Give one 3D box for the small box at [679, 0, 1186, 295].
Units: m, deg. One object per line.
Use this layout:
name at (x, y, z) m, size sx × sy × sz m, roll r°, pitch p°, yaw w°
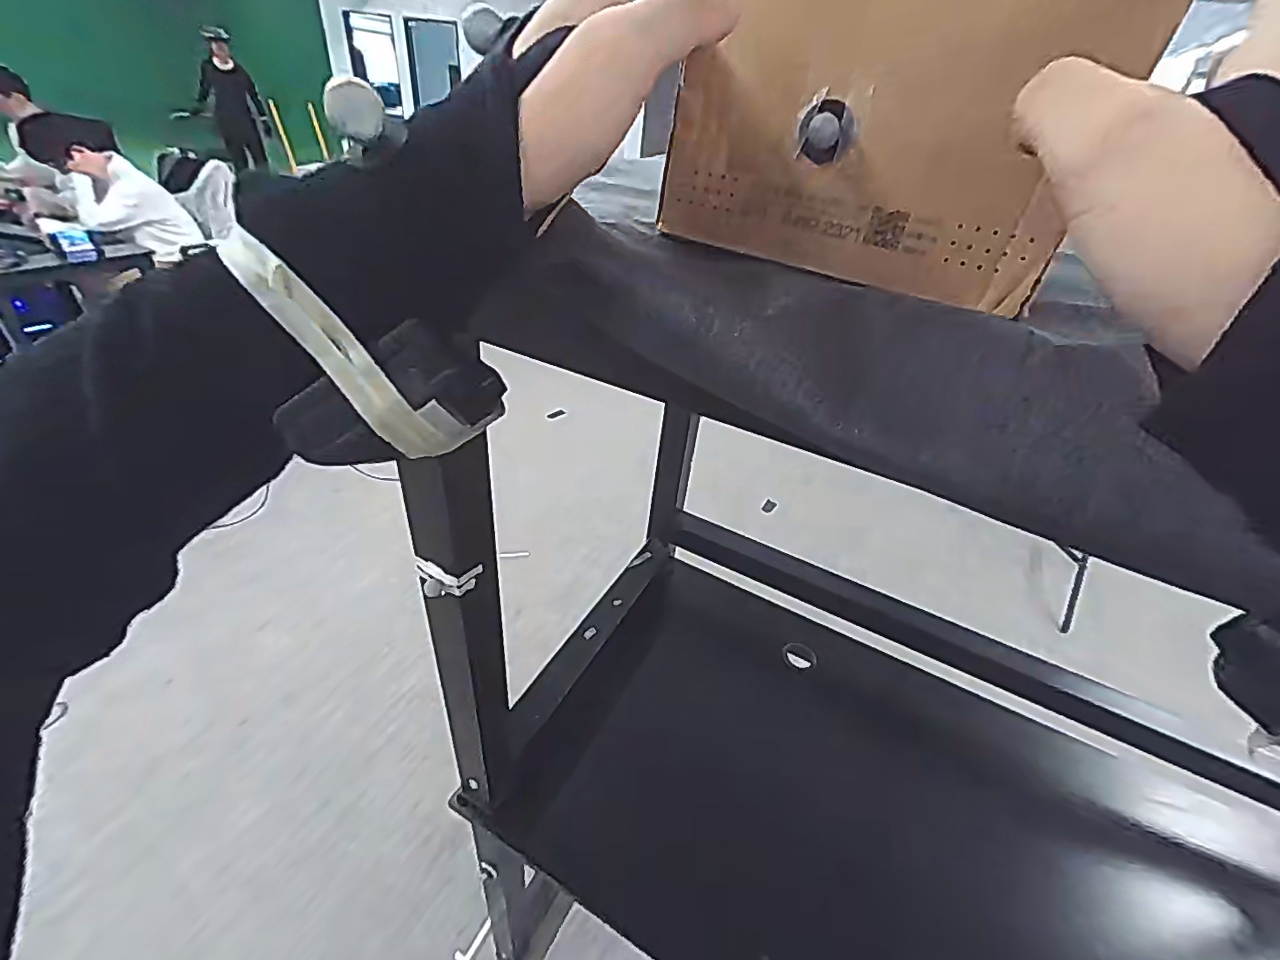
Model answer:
small box at (0.131, -0.204, 0.259) m, size 0.168 × 0.176 × 0.179 m, roll 22°, pitch 36°, yaw 18°
